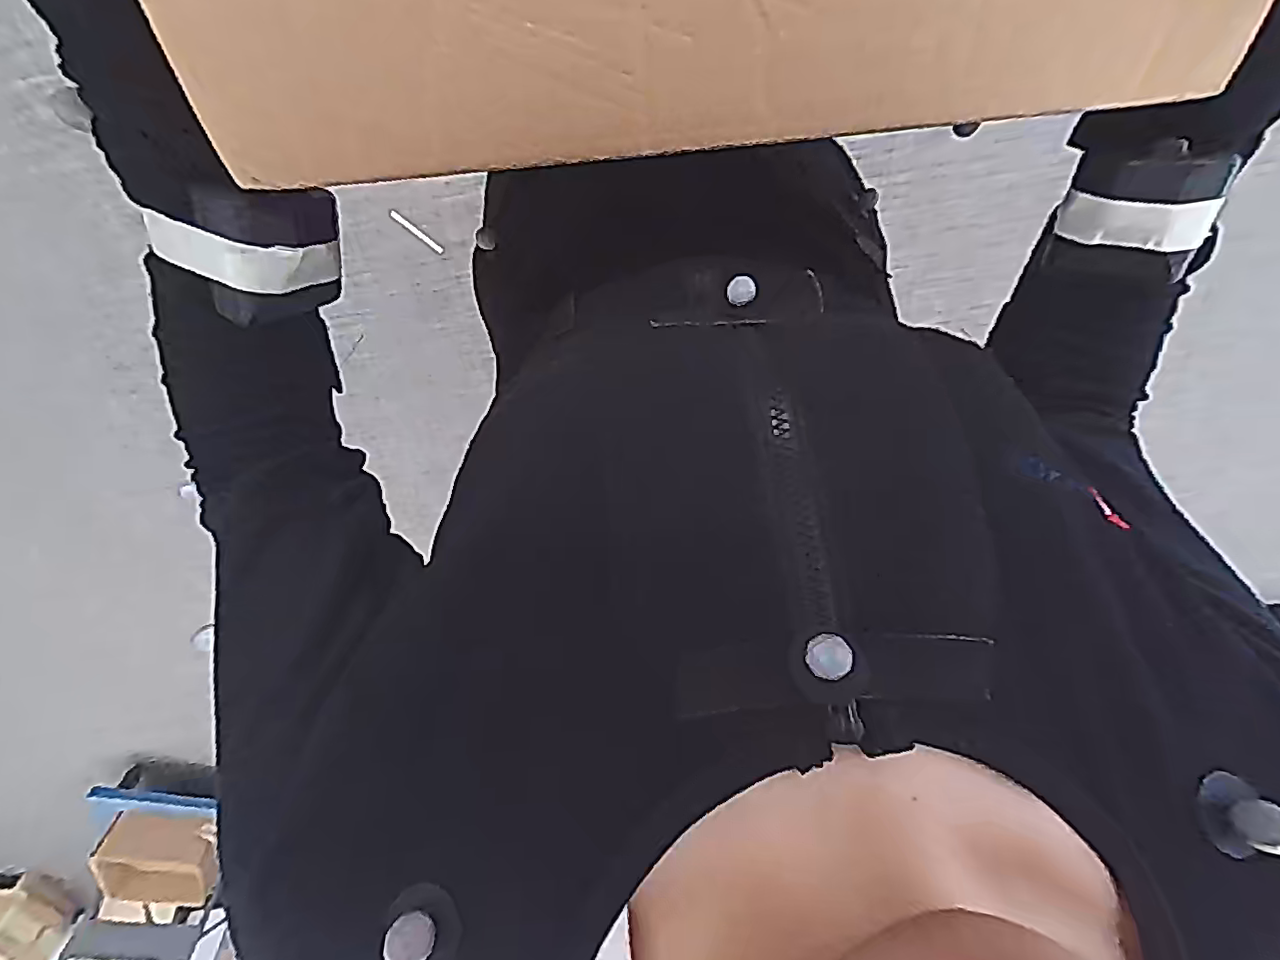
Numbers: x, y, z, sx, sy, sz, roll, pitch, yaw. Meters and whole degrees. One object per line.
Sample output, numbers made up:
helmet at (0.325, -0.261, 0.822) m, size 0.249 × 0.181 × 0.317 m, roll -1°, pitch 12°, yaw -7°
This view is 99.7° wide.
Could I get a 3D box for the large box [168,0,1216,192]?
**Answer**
large box at (0.013, -0.358, 0.239) m, size 0.408 × 0.320 × 0.320 m, roll -7°, pitch 132°, yaw -1°
